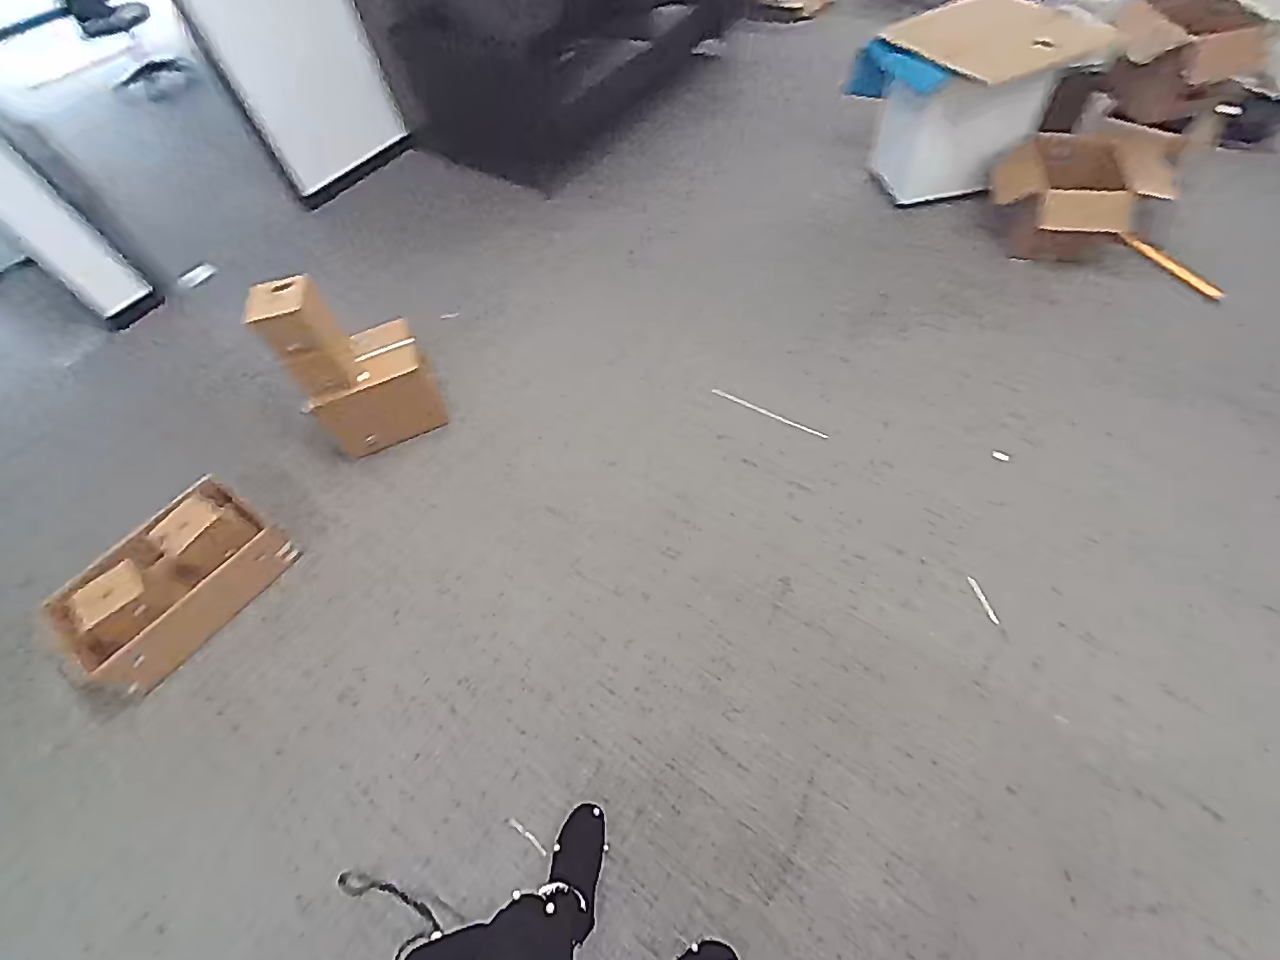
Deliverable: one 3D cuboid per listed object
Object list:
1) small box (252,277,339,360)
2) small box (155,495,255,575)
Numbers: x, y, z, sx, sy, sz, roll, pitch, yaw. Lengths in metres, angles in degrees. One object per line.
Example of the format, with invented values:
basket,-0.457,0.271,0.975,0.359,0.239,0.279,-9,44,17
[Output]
small box,-1.090,-0.513,1.729,0.168,0.176,0.179,-14,58,-2
small box,-1.450,0.187,1.821,0.168,0.176,0.179,26,63,21
